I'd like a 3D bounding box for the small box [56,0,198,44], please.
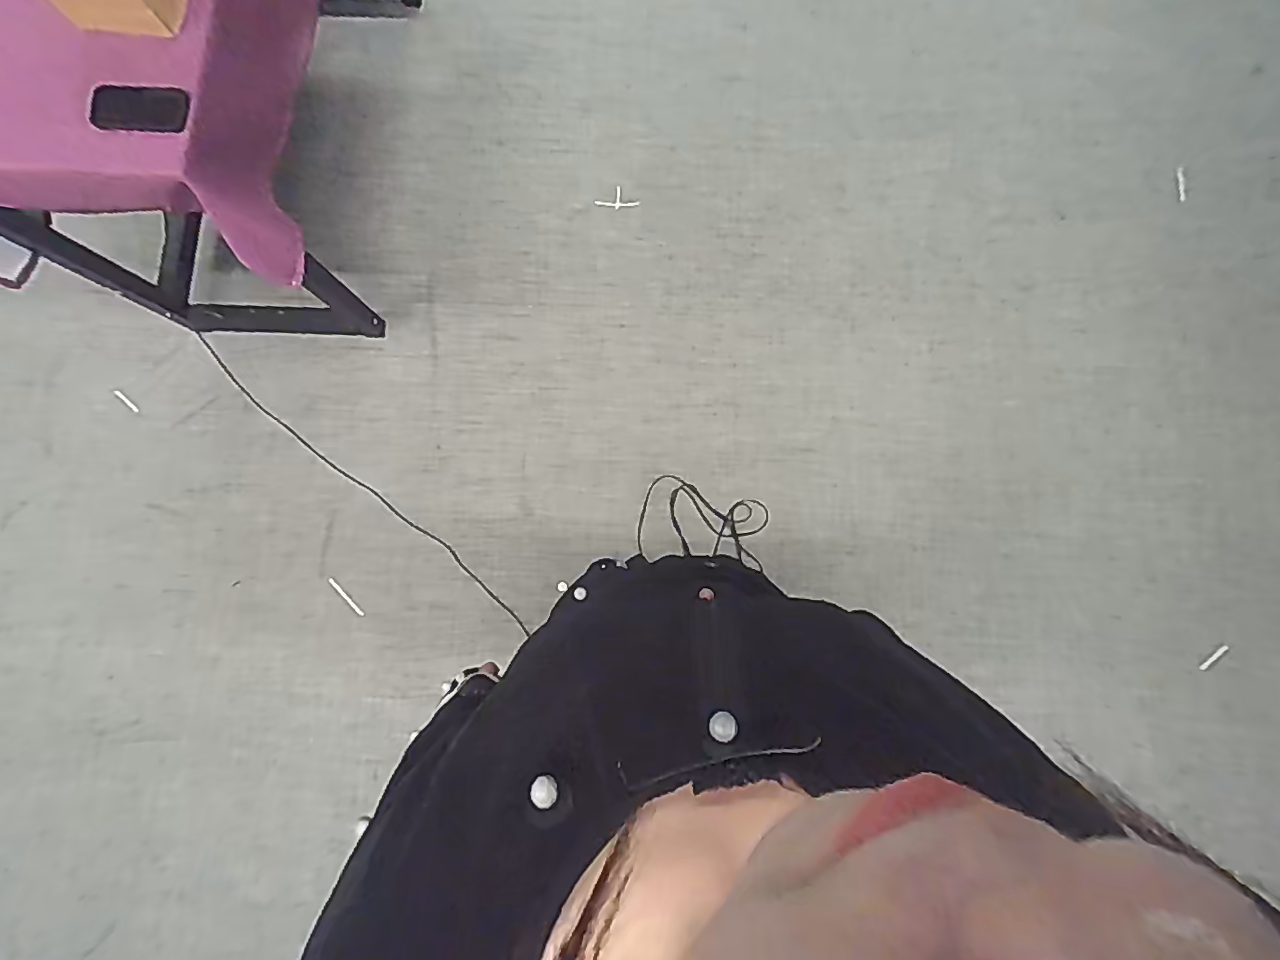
[{"bbox_3d":[-0.855,-0.843,0.859,0.179,0.176,0.168,7,82,1],"label":"small box"}]
